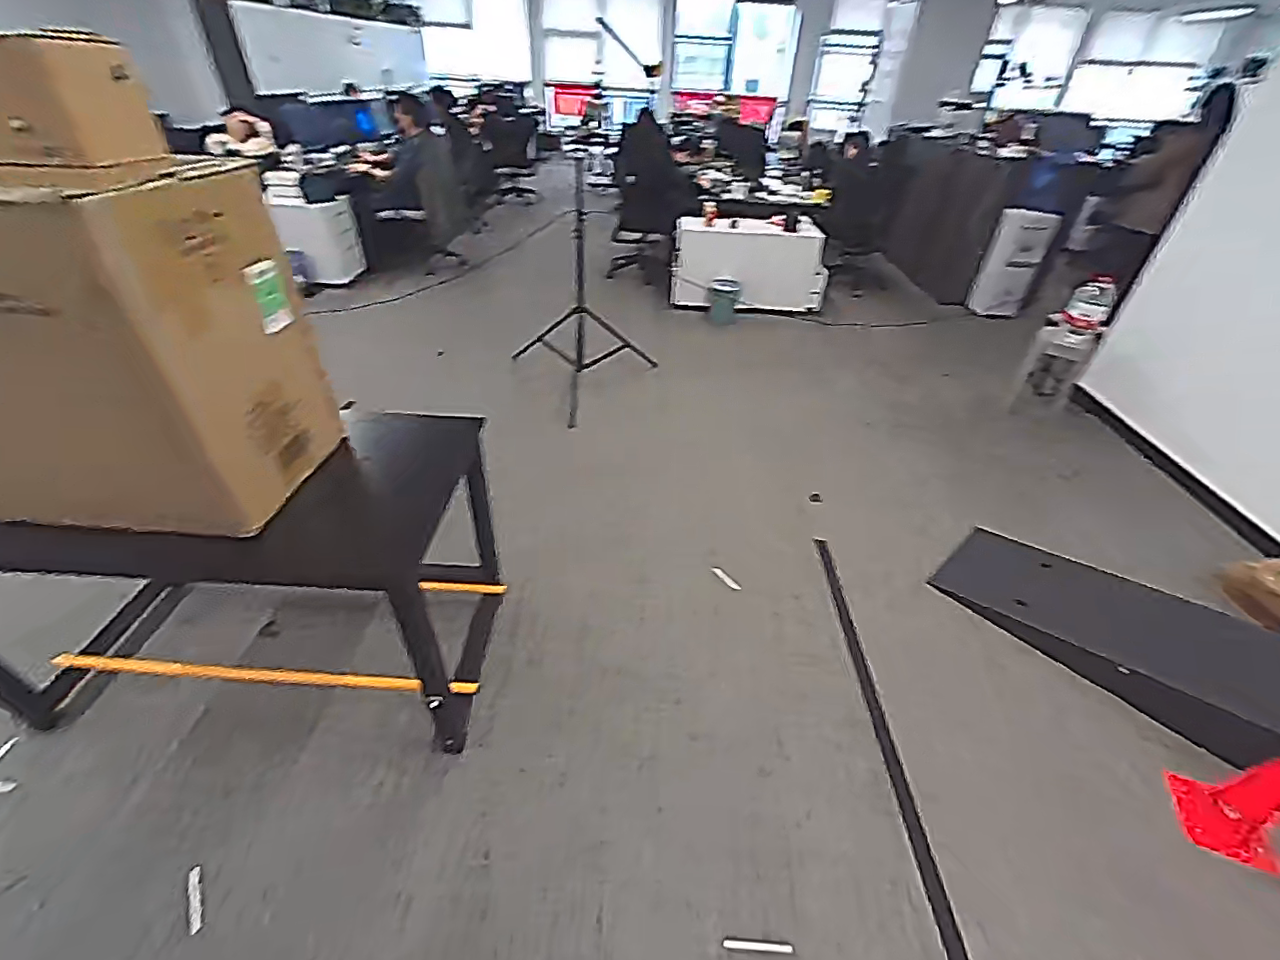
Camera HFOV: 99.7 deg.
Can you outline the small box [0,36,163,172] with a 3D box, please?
[{"bbox_3d":[-0.943,-0.615,0.888,0.168,0.176,0.179,1,36,-1],"label":"small box"}]
